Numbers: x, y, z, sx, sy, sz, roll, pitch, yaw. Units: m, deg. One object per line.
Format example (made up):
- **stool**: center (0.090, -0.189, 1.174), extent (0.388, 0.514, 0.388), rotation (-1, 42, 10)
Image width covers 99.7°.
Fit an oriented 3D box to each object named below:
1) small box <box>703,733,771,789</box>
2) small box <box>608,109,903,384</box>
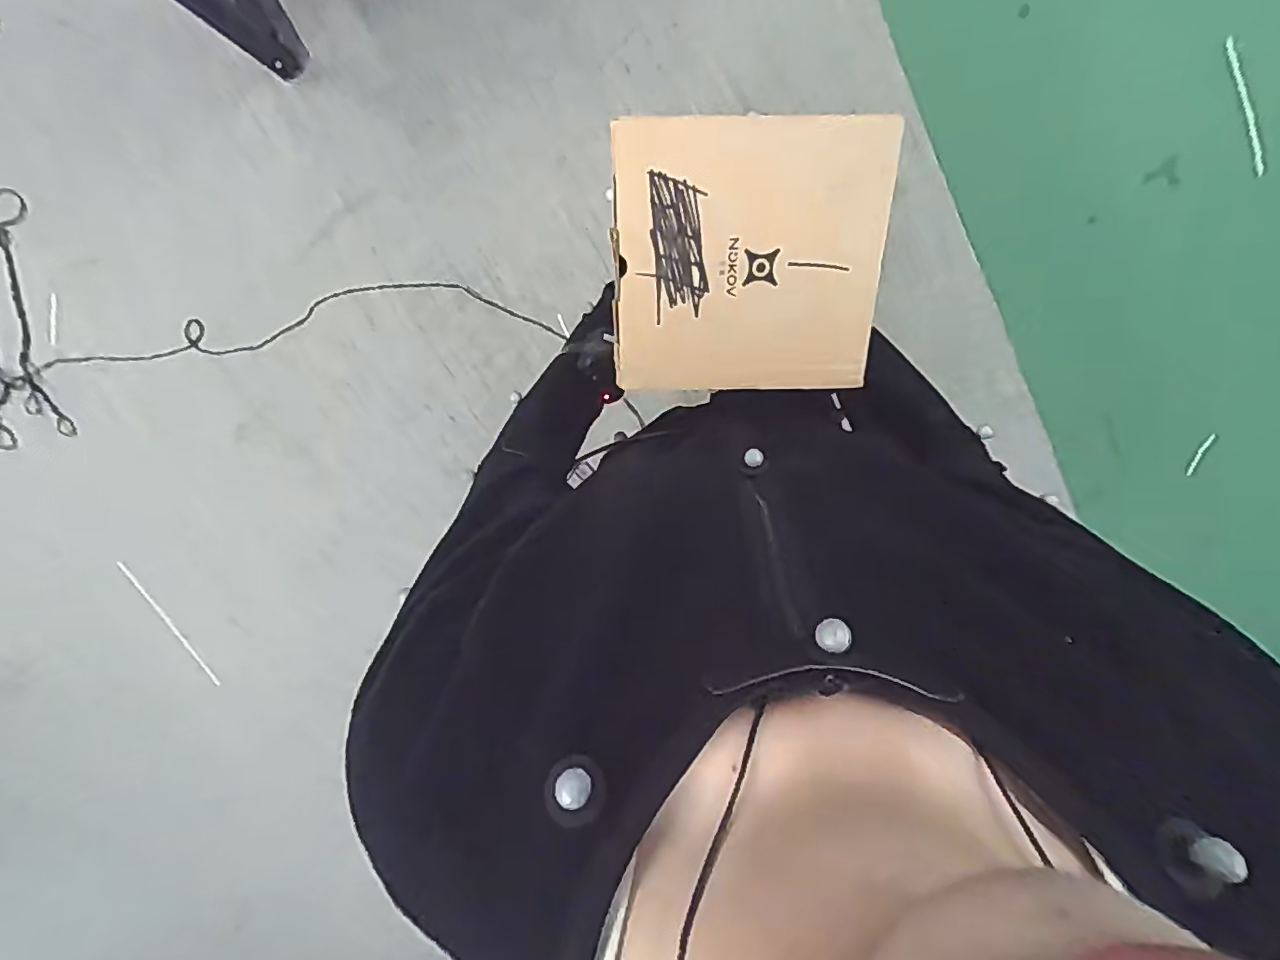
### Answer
- **small box**: center (0.256, 0.792, 1.403), extent (0.168, 0.176, 0.179), rotation (-7, 103, 4)
- **small box**: center (0.069, -0.174, 0.422), extent (0.179, 0.176, 0.168), rotation (0, 114, 0)
